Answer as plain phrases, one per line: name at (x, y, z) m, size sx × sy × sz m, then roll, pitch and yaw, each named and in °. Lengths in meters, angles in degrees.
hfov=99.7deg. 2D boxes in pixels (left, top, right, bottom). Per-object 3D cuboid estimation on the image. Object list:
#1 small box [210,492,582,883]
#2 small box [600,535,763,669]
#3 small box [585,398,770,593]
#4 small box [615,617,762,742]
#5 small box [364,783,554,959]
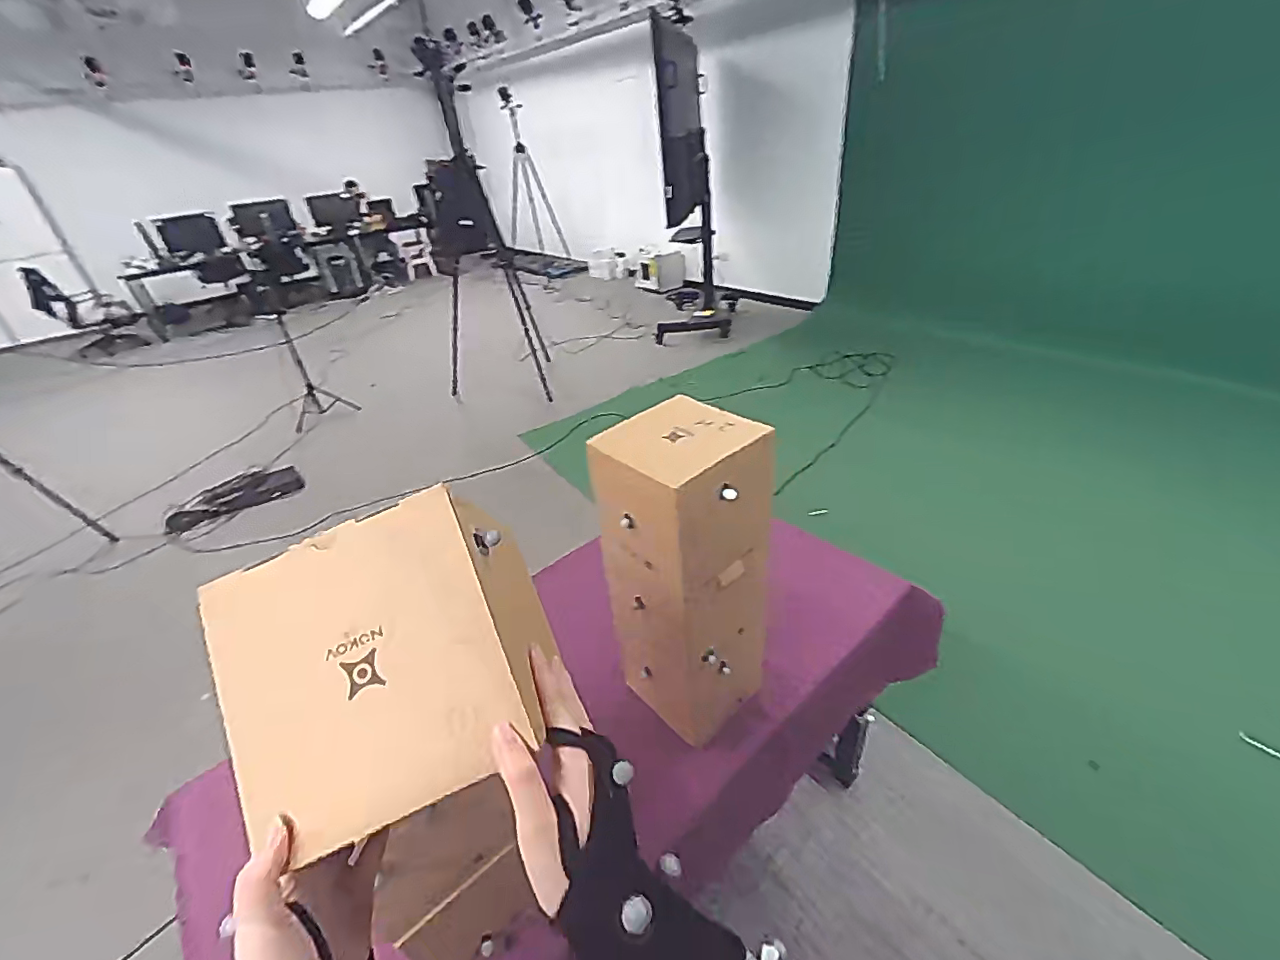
small box at (-0.154, 0.133, 0.397) m, size 0.168 × 0.176 × 0.179 m, roll -24°, pitch 76°, yaw -4°
small box at (0.066, 0.152, 0.810) m, size 0.168 × 0.176 × 0.179 m, roll -30°, pitch 39°, yaw -31°
small box at (0.054, 0.017, 0.717) m, size 0.179 × 0.176 × 0.168 m, roll -29°, pitch 40°, yaw -30°
small box at (0.083, 0.290, 0.898) m, size 0.168 × 0.176 × 0.179 m, roll -31°, pitch 39°, yaw -30°
small box at (-0.231, 0.471, 0.684) m, size 0.168 × 0.176 × 0.179 m, roll -29°, pitch 40°, yaw -29°
